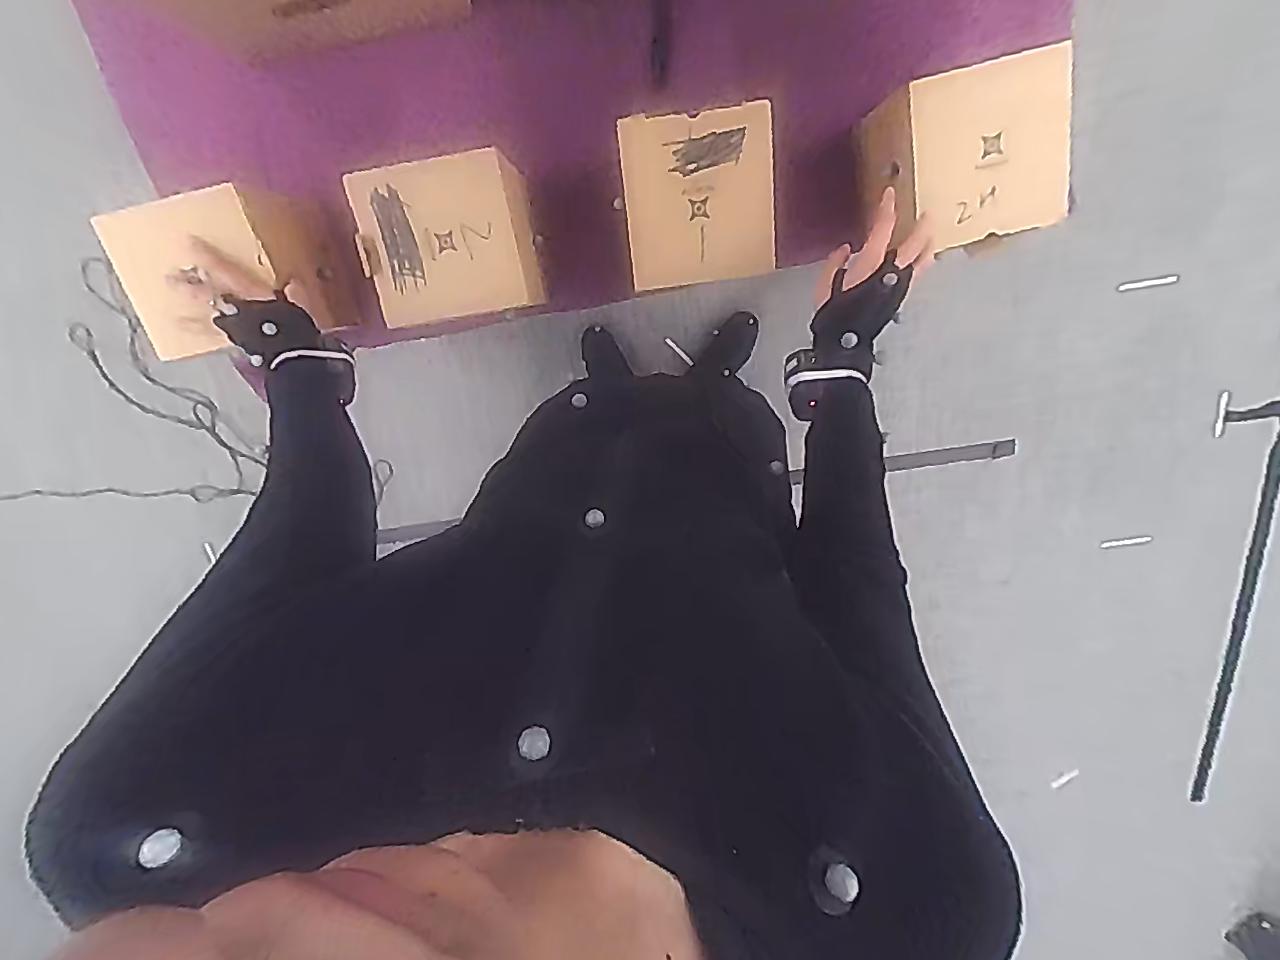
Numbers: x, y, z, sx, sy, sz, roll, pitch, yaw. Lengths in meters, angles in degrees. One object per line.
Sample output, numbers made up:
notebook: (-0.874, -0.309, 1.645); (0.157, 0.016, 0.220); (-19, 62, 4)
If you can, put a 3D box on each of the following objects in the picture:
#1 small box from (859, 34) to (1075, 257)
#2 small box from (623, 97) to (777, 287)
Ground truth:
small box: (0.378, -0.382, 0.654); (0.168, 0.176, 0.179); (-12, 109, 5)
small box: (0.068, -0.339, 0.671); (0.168, 0.176, 0.179); (-6, 110, 2)
